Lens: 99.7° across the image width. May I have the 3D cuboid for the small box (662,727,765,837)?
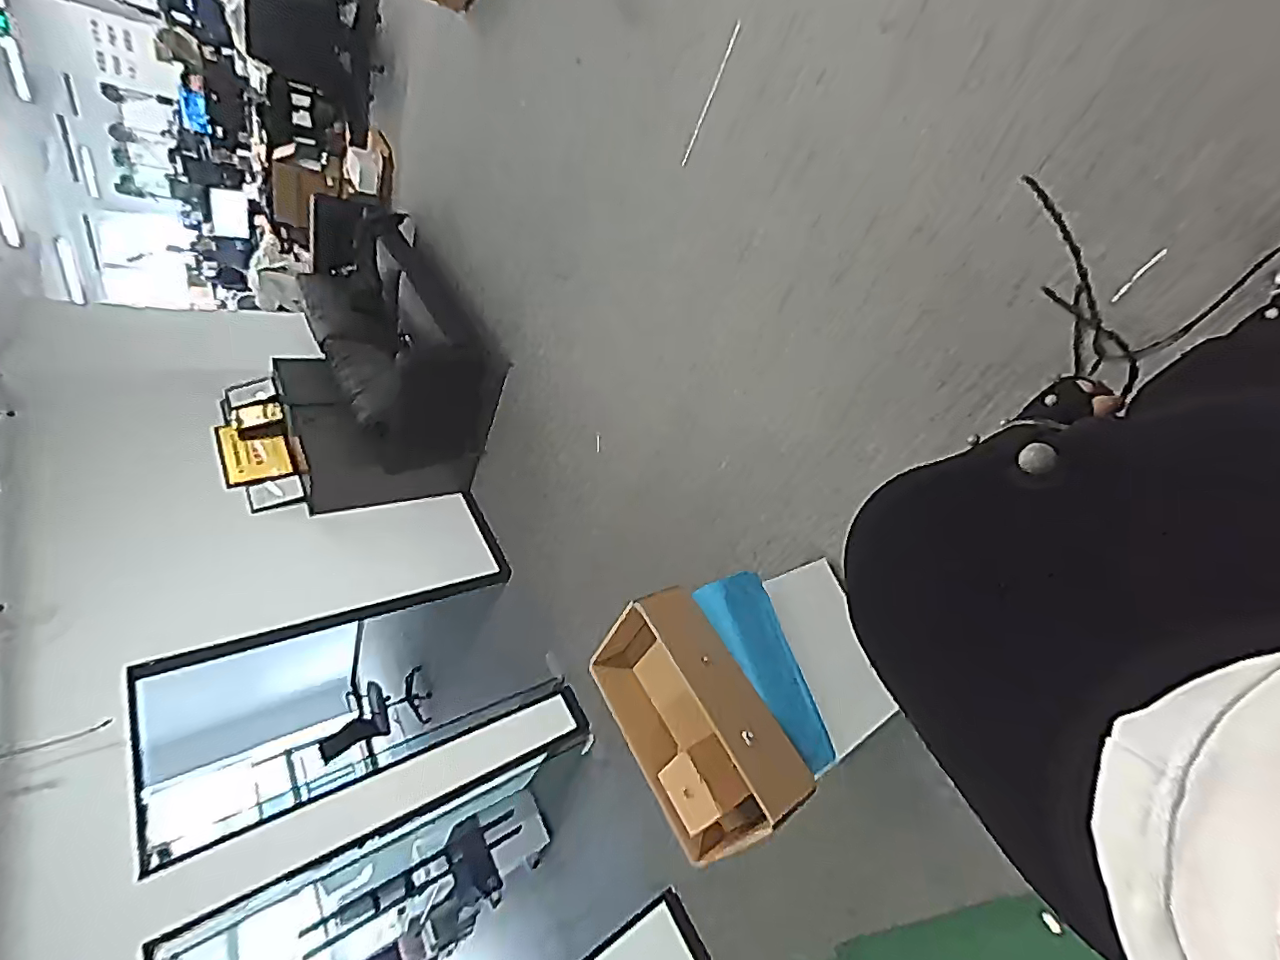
[{"bbox_3d":[0.191,0.776,1.400,0.168,0.176,0.179,54,135,30],"label":"small box"}]
